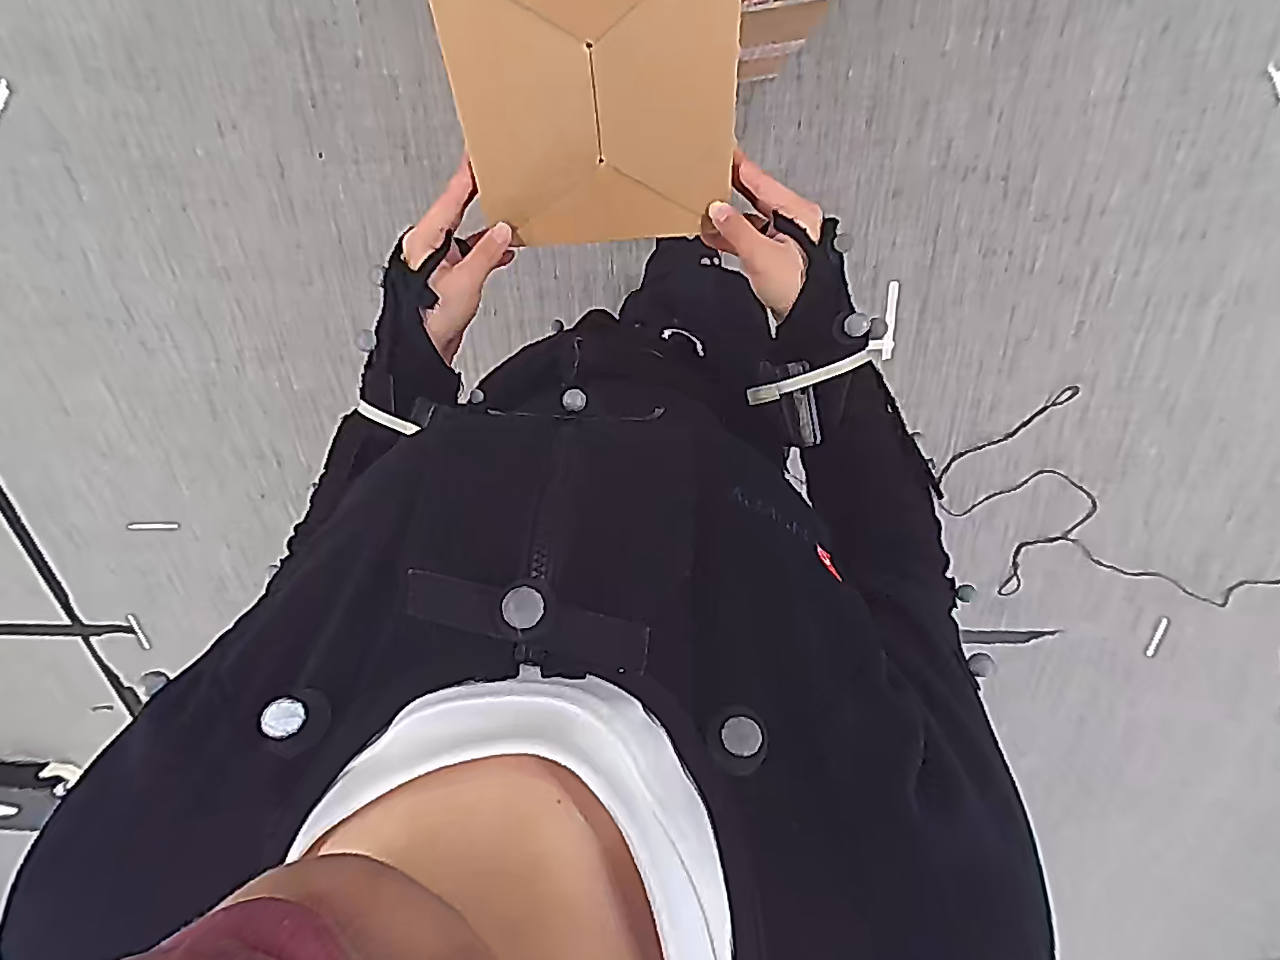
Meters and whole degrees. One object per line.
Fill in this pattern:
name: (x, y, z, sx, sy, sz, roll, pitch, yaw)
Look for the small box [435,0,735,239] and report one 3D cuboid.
small box: (-0.031, -0.294, 0.399, 0.179, 0.176, 0.168, -2, 136, 2)
